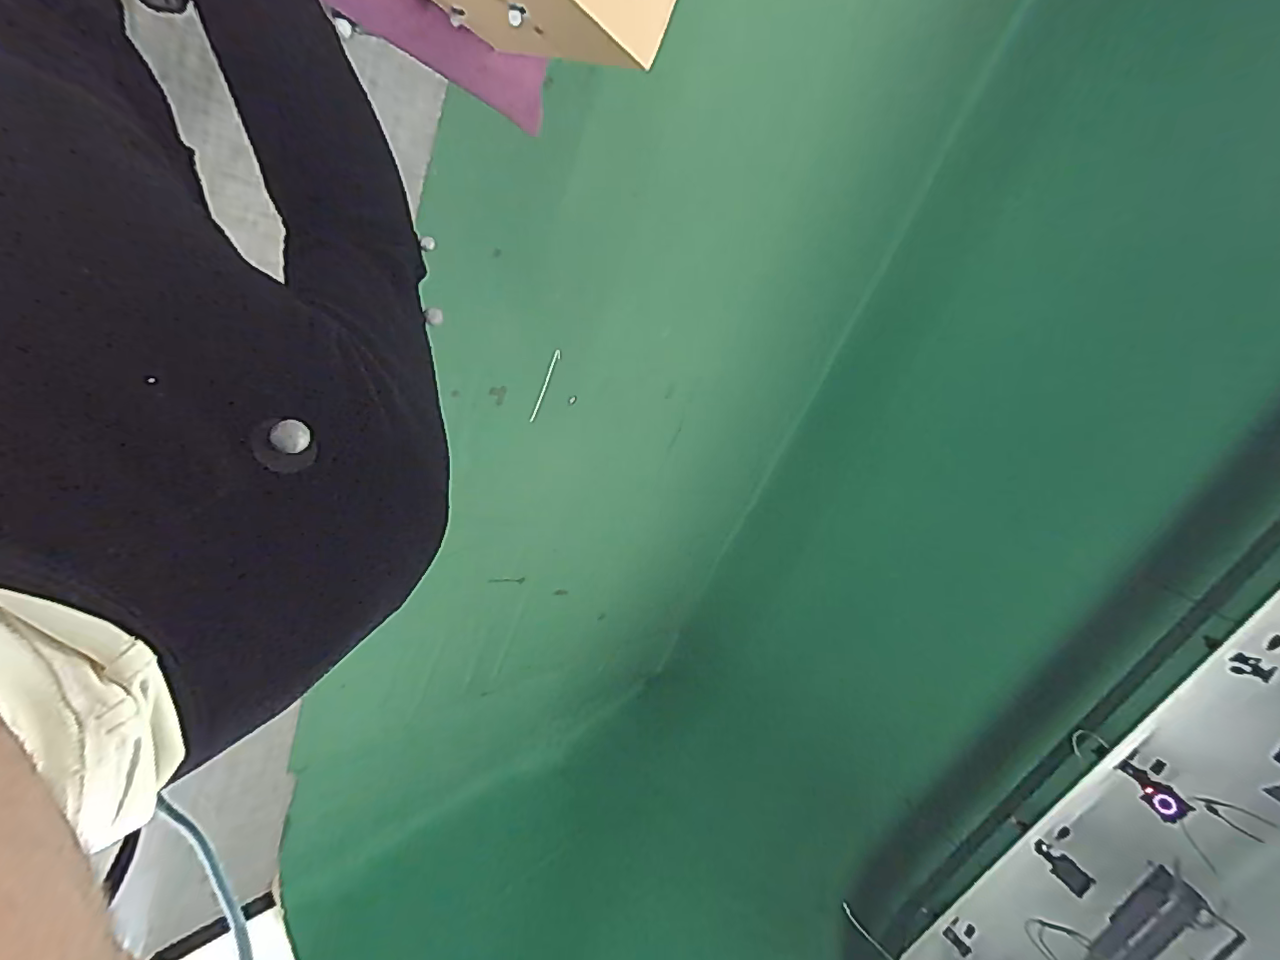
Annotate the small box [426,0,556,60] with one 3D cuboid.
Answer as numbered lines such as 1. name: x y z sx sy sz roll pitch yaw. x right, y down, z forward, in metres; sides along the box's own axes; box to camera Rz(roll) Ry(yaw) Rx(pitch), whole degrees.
1. small box: -0.182 -0.654 0.651 0.179 0.176 0.168 1 119 -52

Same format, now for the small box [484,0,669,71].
1. small box: -0.069 -0.575 0.563 0.168 0.176 0.179 2 119 -50
